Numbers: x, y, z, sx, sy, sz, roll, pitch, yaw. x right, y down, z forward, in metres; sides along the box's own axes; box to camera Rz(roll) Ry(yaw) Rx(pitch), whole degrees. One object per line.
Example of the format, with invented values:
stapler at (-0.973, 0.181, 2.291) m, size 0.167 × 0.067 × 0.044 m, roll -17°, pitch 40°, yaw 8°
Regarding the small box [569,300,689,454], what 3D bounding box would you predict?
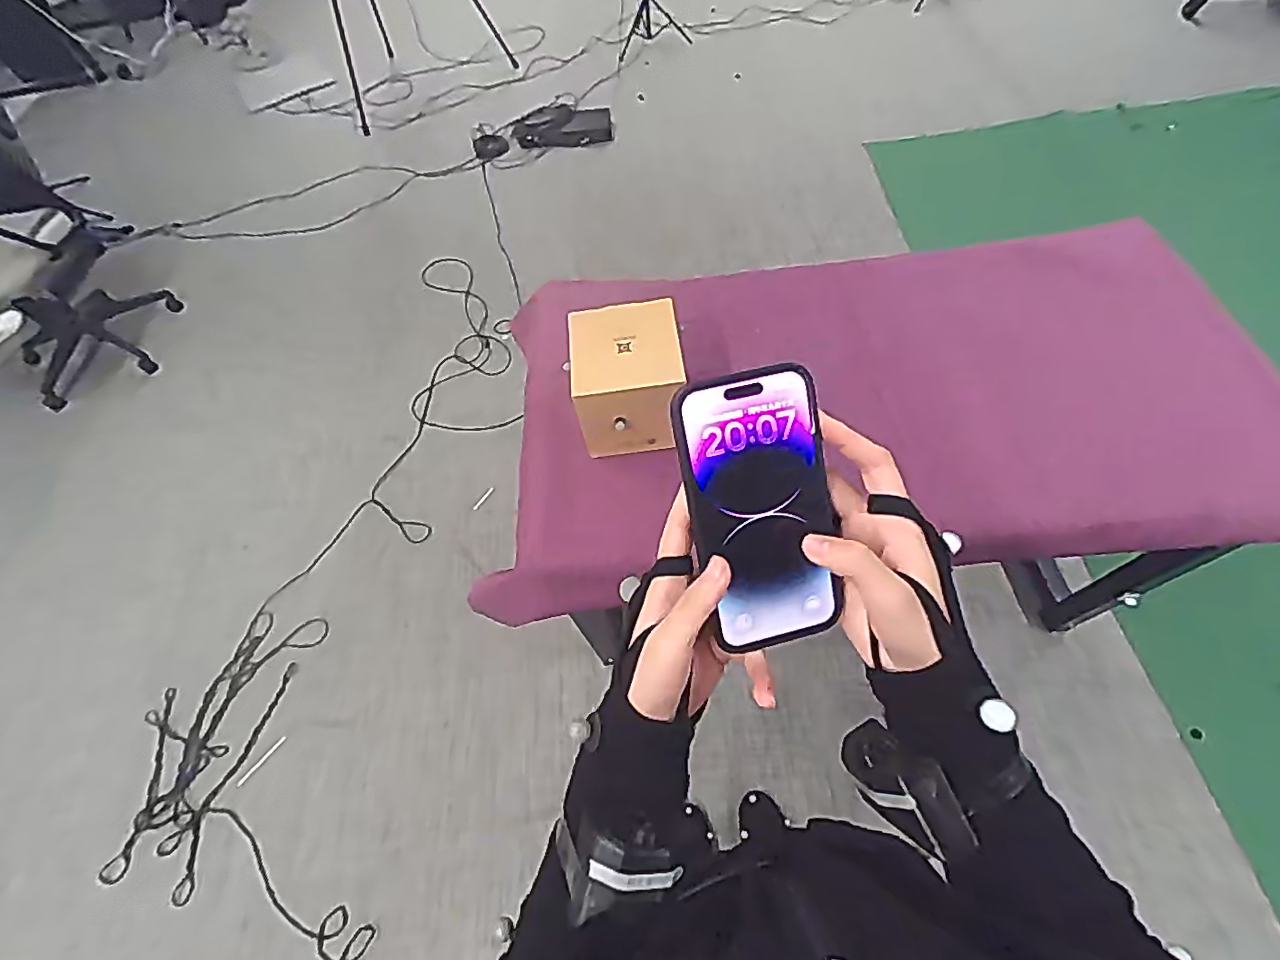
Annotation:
small box at (-0.015, -0.155, 0.871) m, size 0.168 × 0.176 × 0.179 m, roll -8°, pitch 58°, yaw 2°
